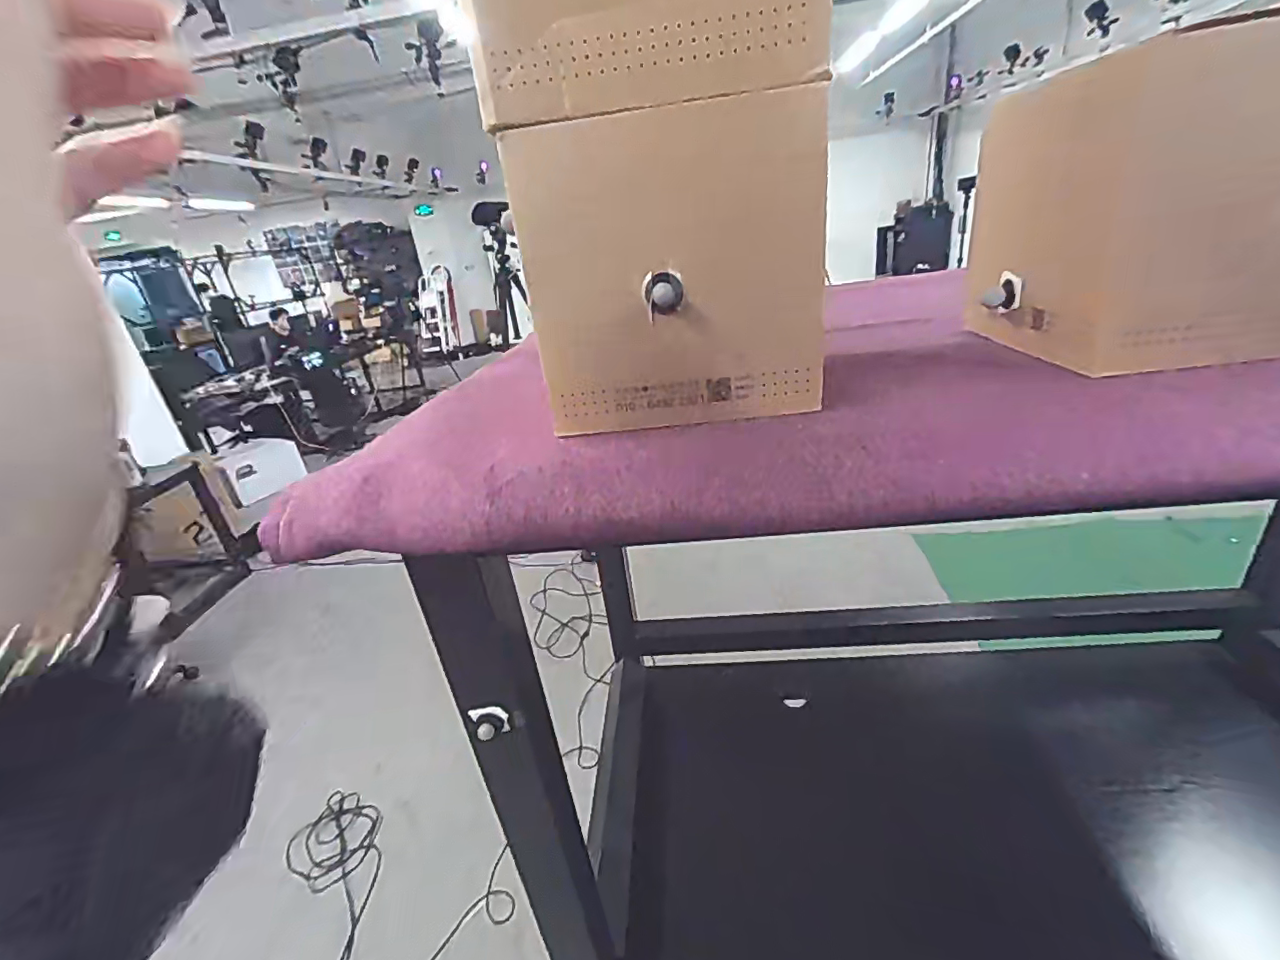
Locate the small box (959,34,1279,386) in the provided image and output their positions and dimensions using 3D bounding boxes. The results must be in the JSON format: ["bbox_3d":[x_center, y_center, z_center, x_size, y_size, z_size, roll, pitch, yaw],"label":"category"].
[{"bbox_3d":[0.344,-0.170,0.359,0.179,0.176,0.168,-6,23,6],"label":"small box"}]

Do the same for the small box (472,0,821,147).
[{"bbox_3d":[0.001,-0.290,0.317,0.179,0.176,0.168,-5,25,3],"label":"small box"}]

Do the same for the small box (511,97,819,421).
[{"bbox_3d":[0.025,-0.144,0.385,0.168,0.176,0.179,-4,24,5],"label":"small box"}]
